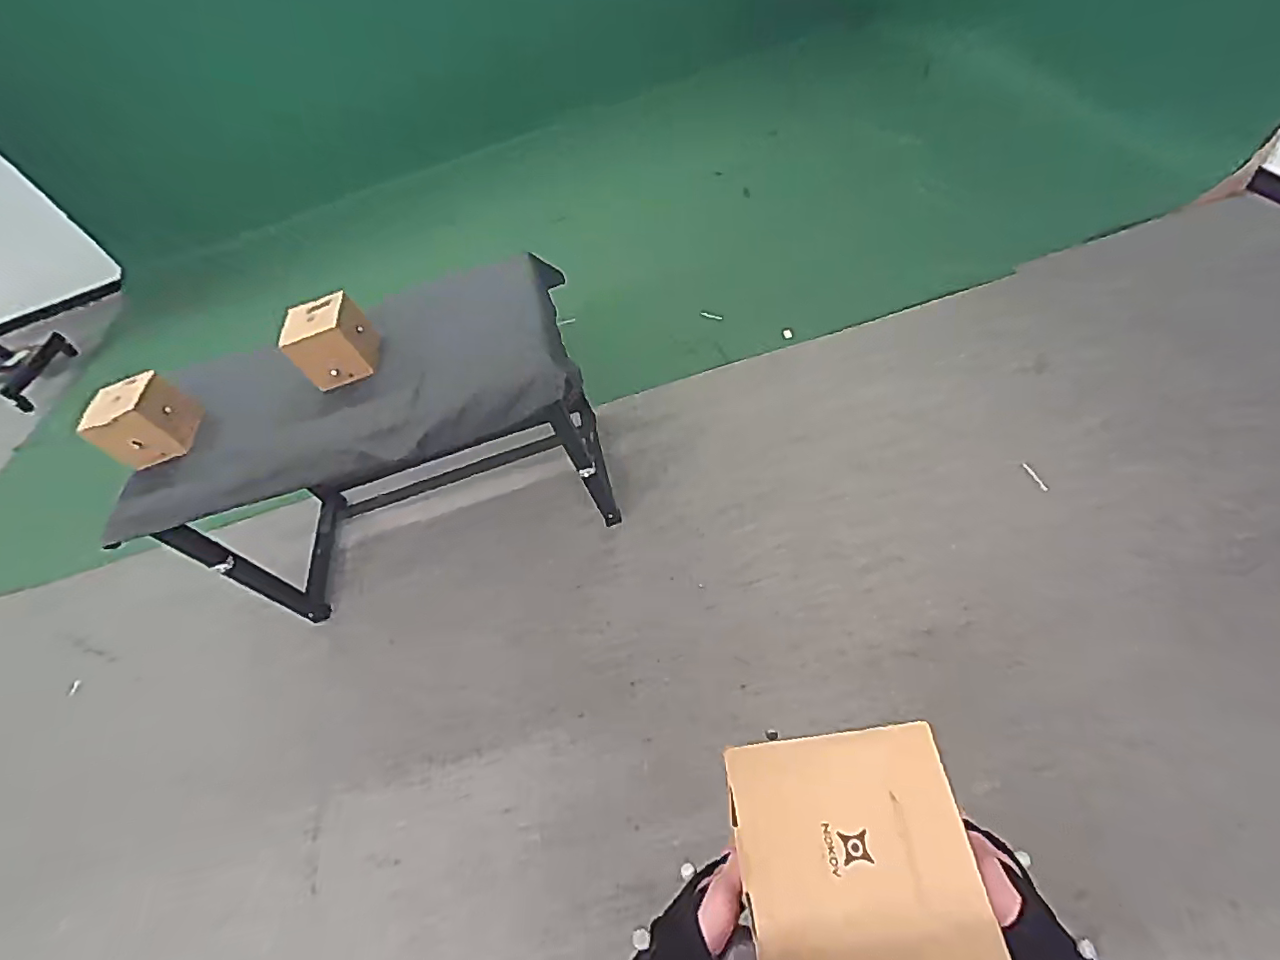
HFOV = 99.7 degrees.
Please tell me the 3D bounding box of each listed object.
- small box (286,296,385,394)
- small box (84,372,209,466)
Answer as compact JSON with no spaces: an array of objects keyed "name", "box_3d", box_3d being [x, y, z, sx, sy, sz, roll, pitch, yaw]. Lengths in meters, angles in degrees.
[{"name":"small box","box_3d":[-0.833,-0.372,1.501,0.168,0.176,0.179,-18,52,3]},{"name":"small box","box_3d":[-1.342,-0.158,1.487,0.168,0.176,0.179,-19,51,1]}]
